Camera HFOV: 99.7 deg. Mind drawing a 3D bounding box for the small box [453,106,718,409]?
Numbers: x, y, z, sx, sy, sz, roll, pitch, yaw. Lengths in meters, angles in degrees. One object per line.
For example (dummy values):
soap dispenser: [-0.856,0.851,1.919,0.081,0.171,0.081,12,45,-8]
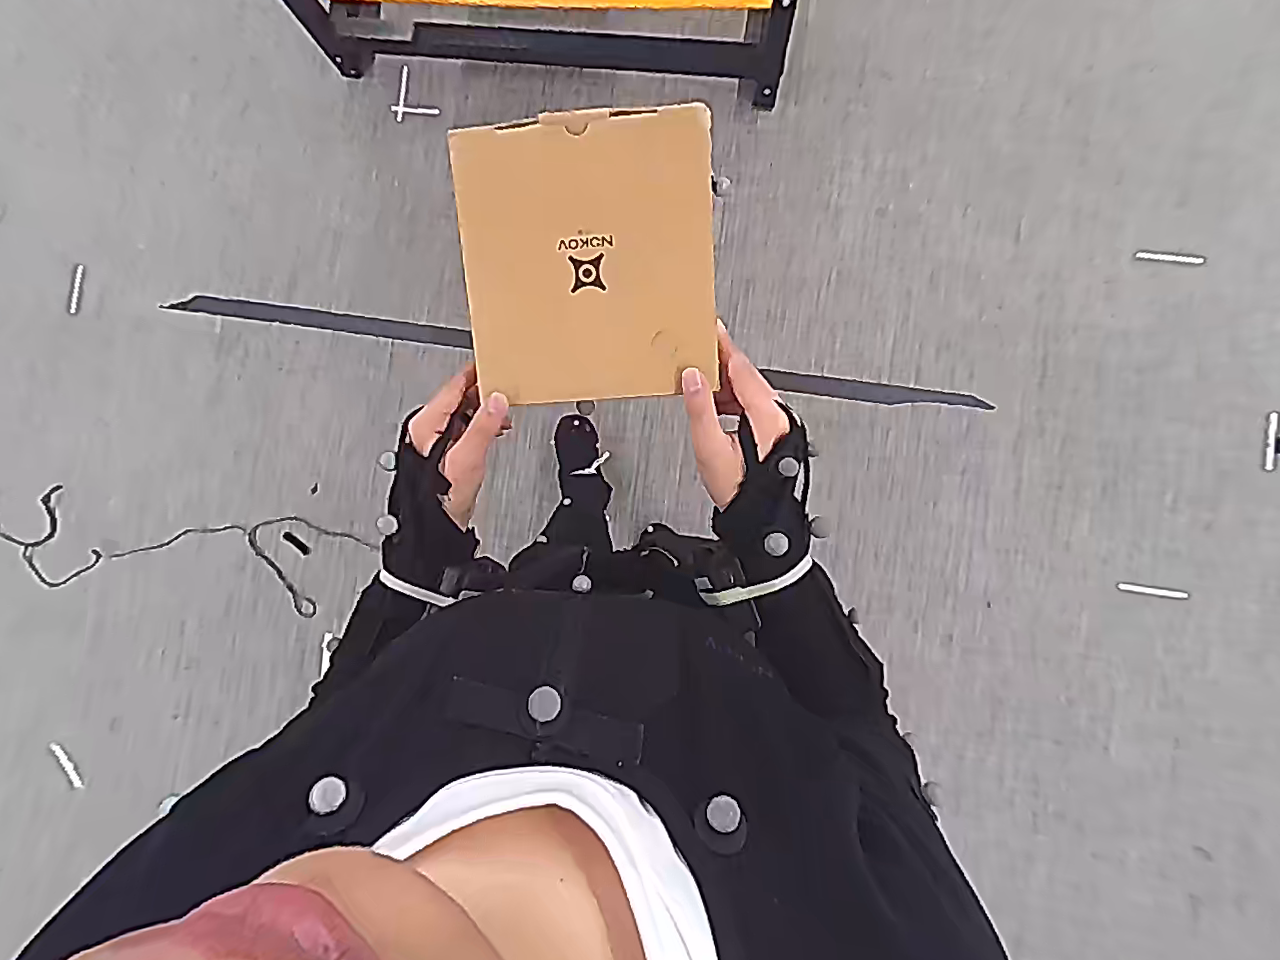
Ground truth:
small box: [-0.026,-0.155,0.430,0.168,0.176,0.179,-4,101,5]
